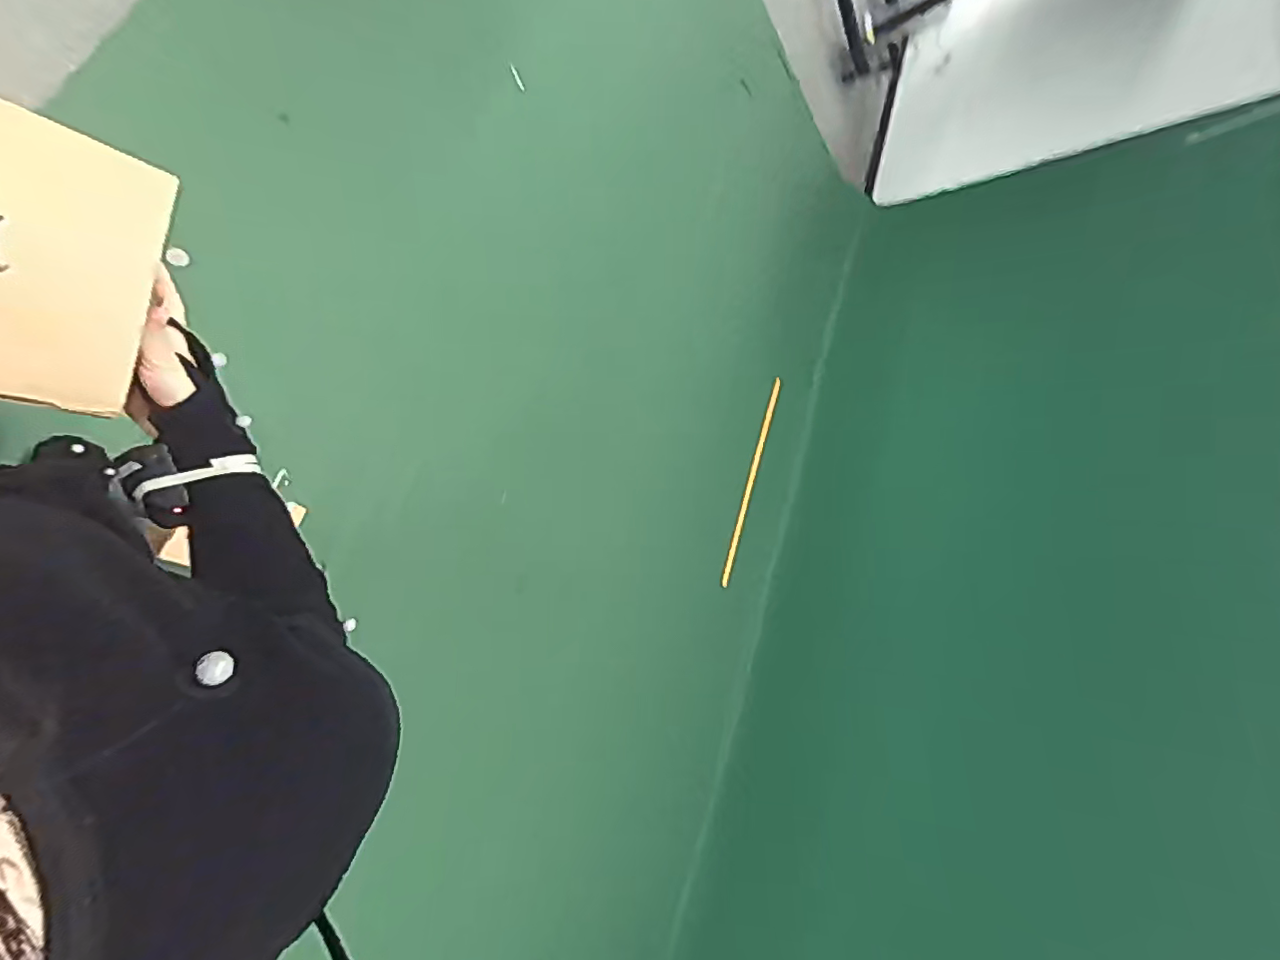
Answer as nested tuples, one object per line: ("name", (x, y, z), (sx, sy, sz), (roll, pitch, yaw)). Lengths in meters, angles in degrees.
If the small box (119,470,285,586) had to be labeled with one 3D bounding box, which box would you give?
("small box", (-0.830, 0.086, 1.027), (0.179, 0.176, 0.168), (37, 65, -45))
